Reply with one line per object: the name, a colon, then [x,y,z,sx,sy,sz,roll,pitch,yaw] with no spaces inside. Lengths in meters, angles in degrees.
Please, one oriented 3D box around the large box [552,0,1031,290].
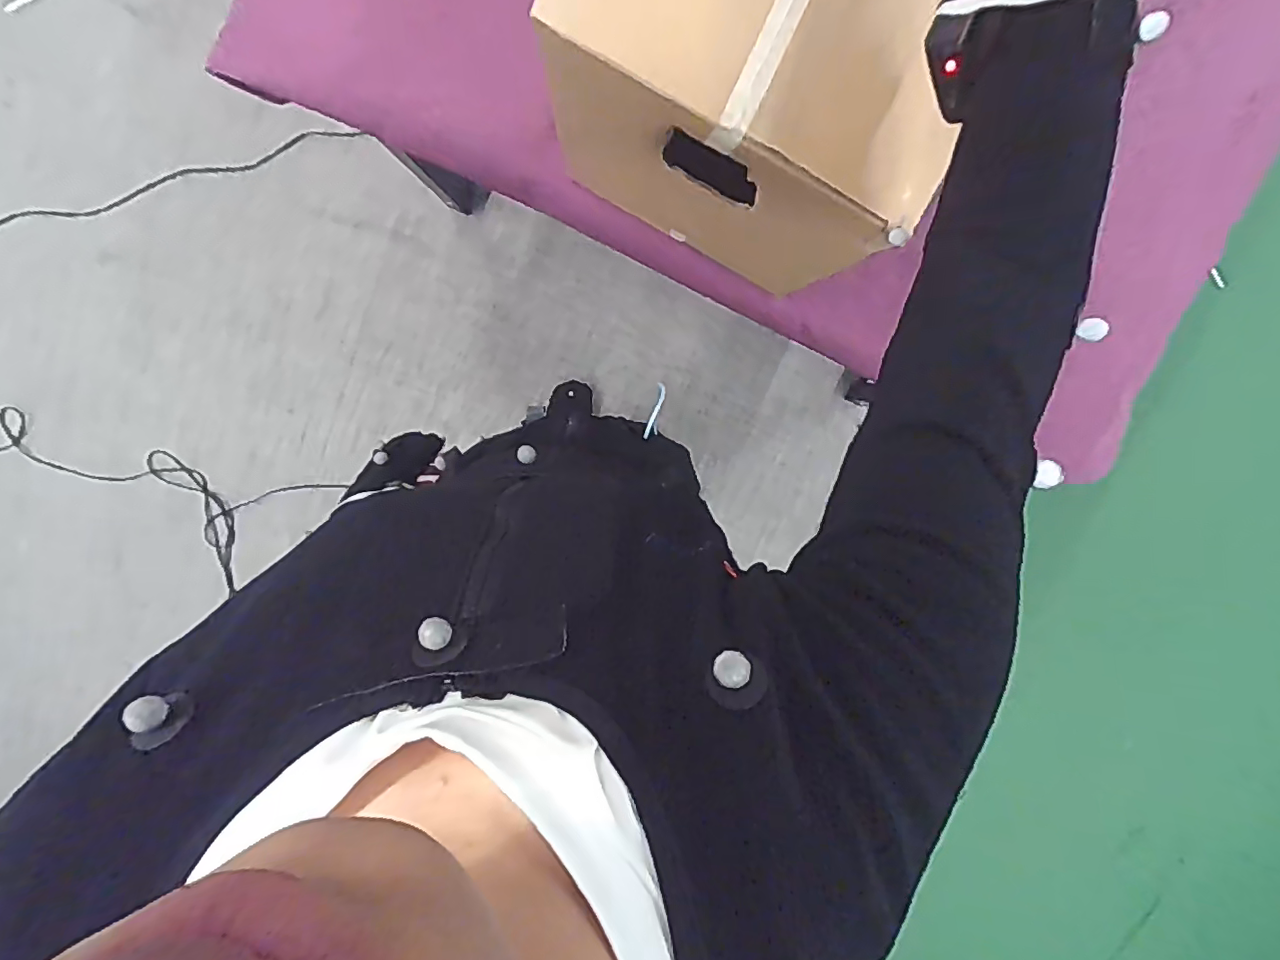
large box: [0.148,-0.458,0.524,0.320,0.320,0.408,26,99,-7]
